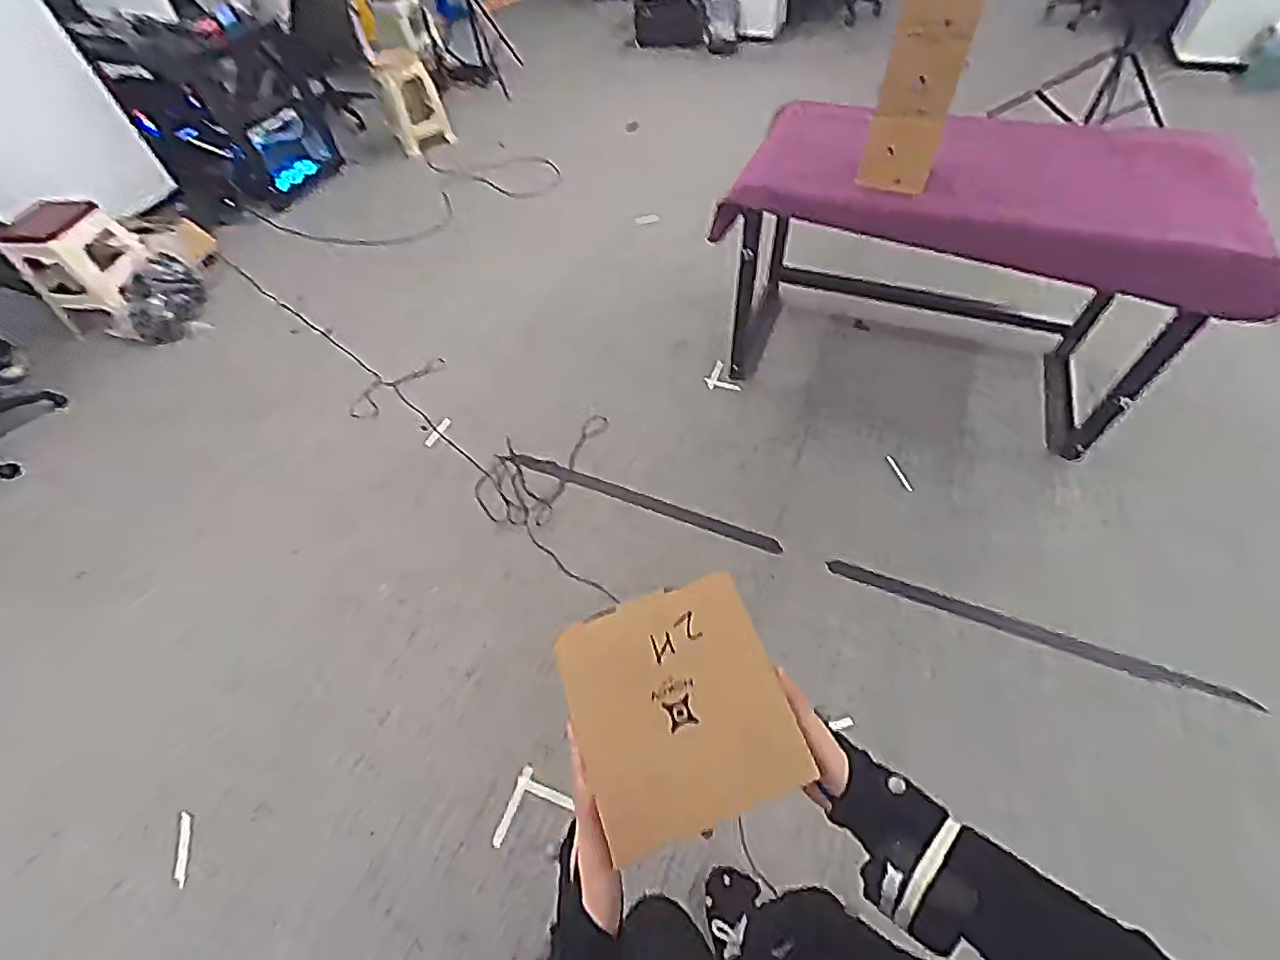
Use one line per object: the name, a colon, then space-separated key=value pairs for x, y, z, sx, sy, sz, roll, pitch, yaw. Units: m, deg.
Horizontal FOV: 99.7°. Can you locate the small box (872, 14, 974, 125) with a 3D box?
small box: x=0.666 y=-0.974 z=1.286 sx=0.168 sy=0.176 sz=0.179 roll=17 pitch=57 yaw=15

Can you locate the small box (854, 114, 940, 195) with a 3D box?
small box: x=0.675 y=-0.872 z=1.415 sx=0.168 sy=0.176 sz=0.179 roll=18 pitch=57 yaw=16
